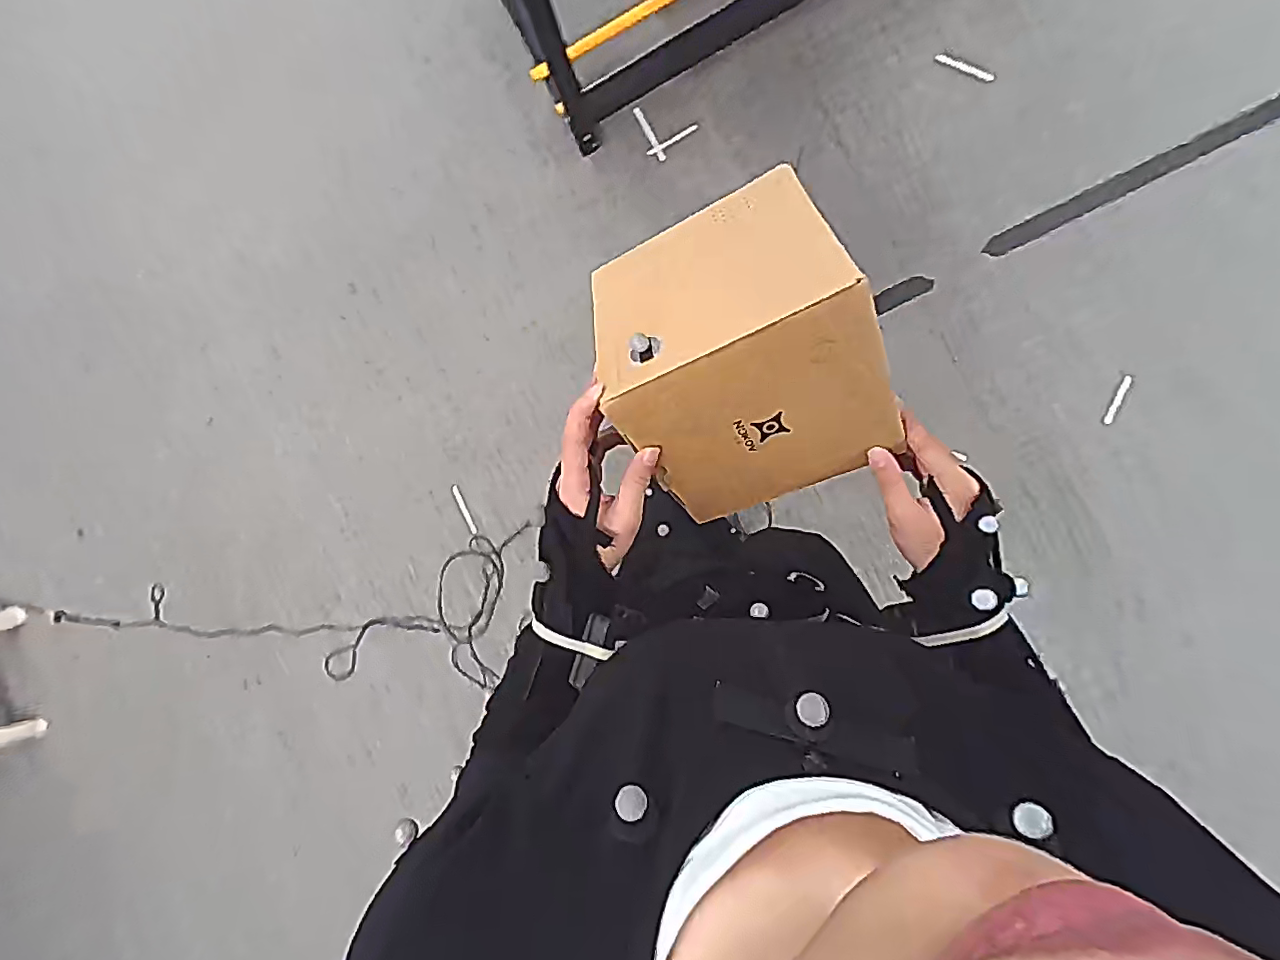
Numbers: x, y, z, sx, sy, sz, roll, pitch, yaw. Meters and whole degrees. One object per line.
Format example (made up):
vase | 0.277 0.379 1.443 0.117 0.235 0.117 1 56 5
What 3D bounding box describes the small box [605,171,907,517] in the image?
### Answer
small box | 0.084 -0.102 0.428 0.179 0.168 0.176 -21 48 19
